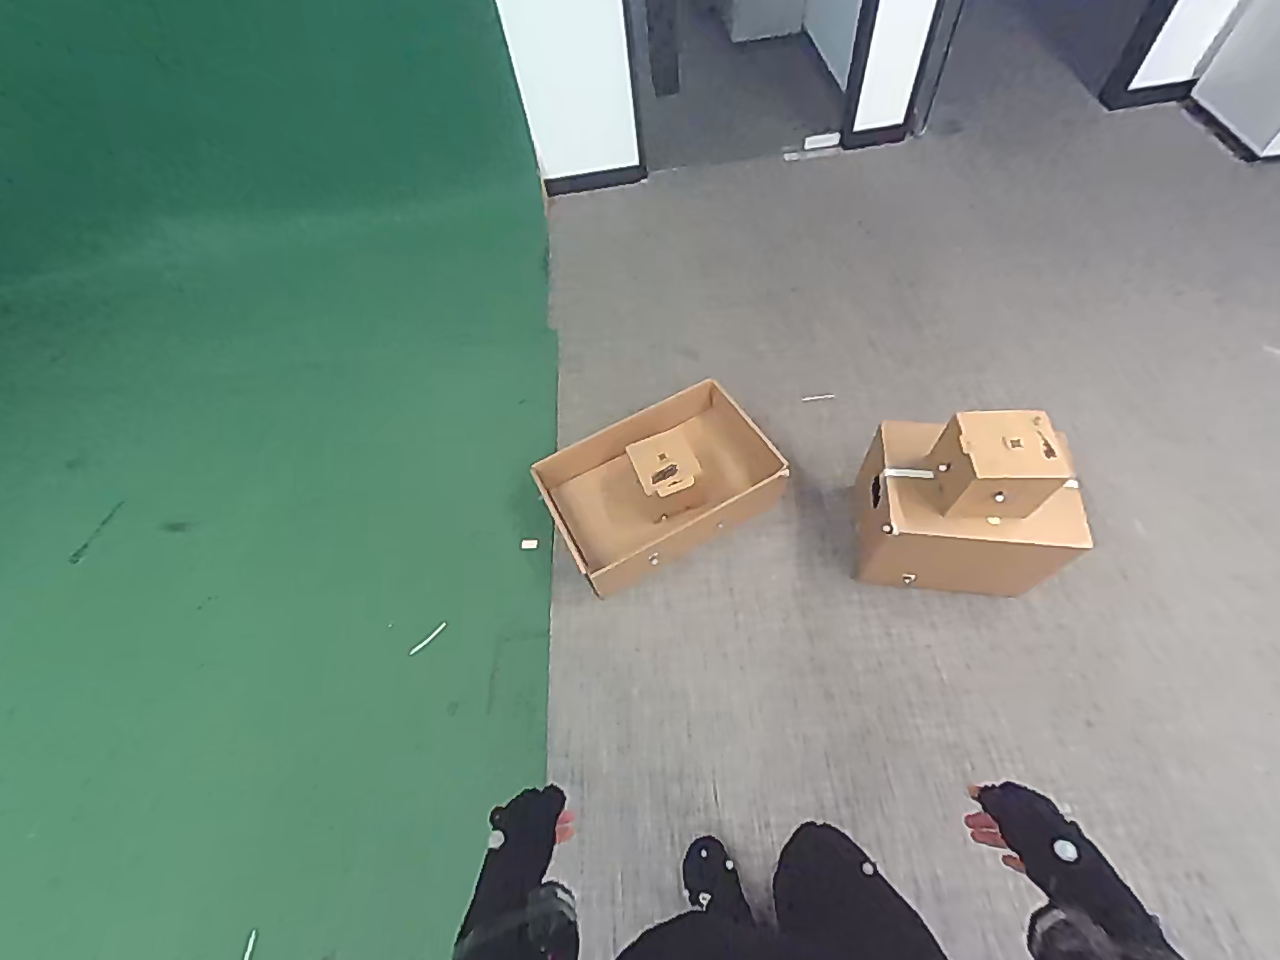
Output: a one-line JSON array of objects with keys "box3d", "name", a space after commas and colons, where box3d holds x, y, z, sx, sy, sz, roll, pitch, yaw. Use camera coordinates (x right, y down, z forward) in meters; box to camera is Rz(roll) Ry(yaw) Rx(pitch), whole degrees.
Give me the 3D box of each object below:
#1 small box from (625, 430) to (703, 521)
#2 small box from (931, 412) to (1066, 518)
[{"box3d": [0.073, -0.004, 1.536, 0.168, 0.176, 0.179, -21, 56, -5], "name": "small box"}, {"box3d": [0.743, -0.028, 1.150, 0.179, 0.176, 0.168, -1, 59, 7], "name": "small box"}]
